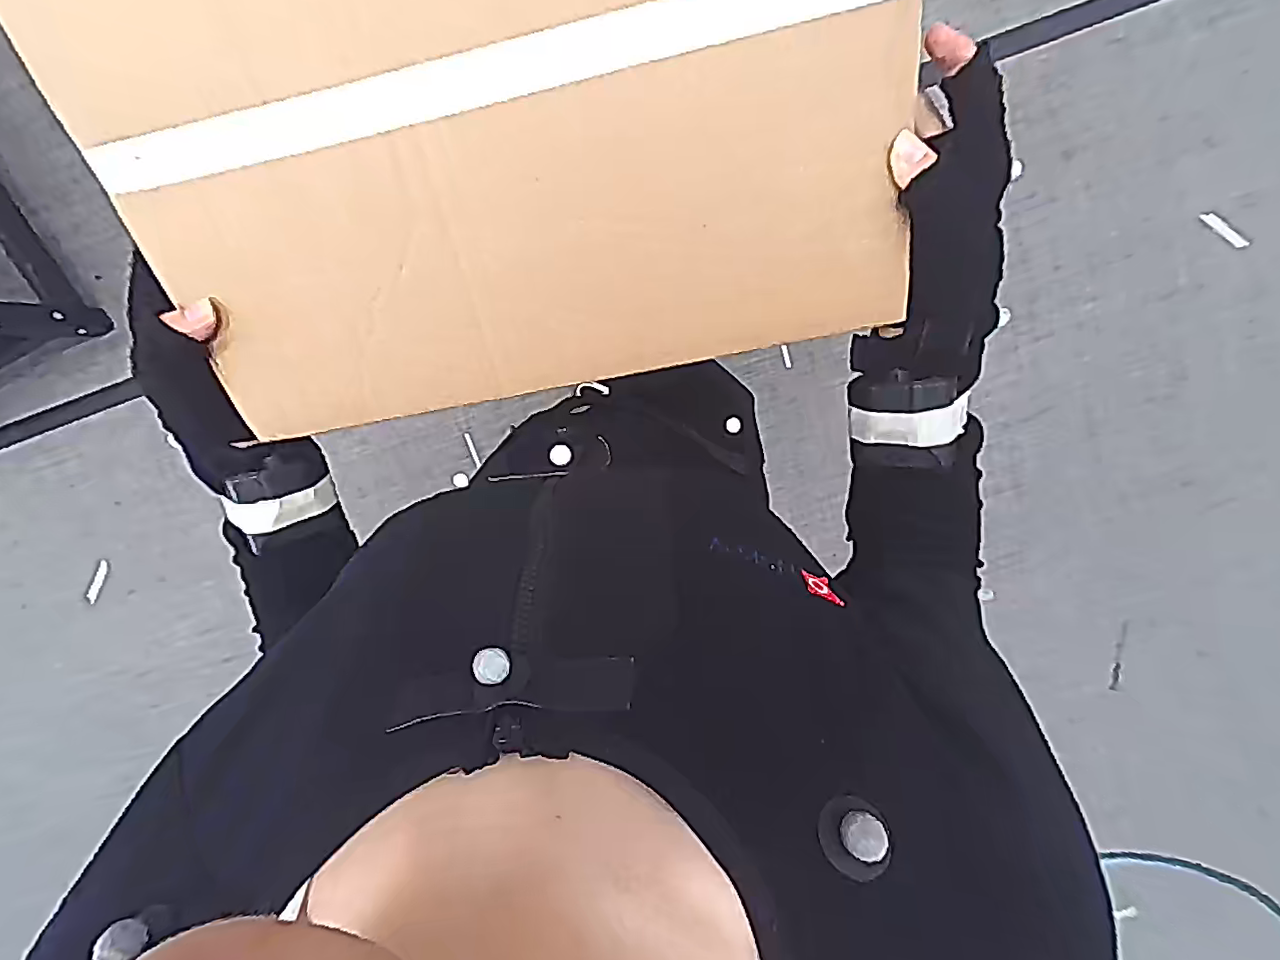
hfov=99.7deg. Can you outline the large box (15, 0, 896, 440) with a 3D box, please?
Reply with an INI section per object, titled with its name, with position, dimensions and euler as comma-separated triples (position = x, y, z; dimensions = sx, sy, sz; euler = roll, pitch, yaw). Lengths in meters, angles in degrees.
[large box]
position = -0.075, -0.266, 0.394
dimensions = 0.408, 0.320, 0.320
euler = -10, 119, 6
